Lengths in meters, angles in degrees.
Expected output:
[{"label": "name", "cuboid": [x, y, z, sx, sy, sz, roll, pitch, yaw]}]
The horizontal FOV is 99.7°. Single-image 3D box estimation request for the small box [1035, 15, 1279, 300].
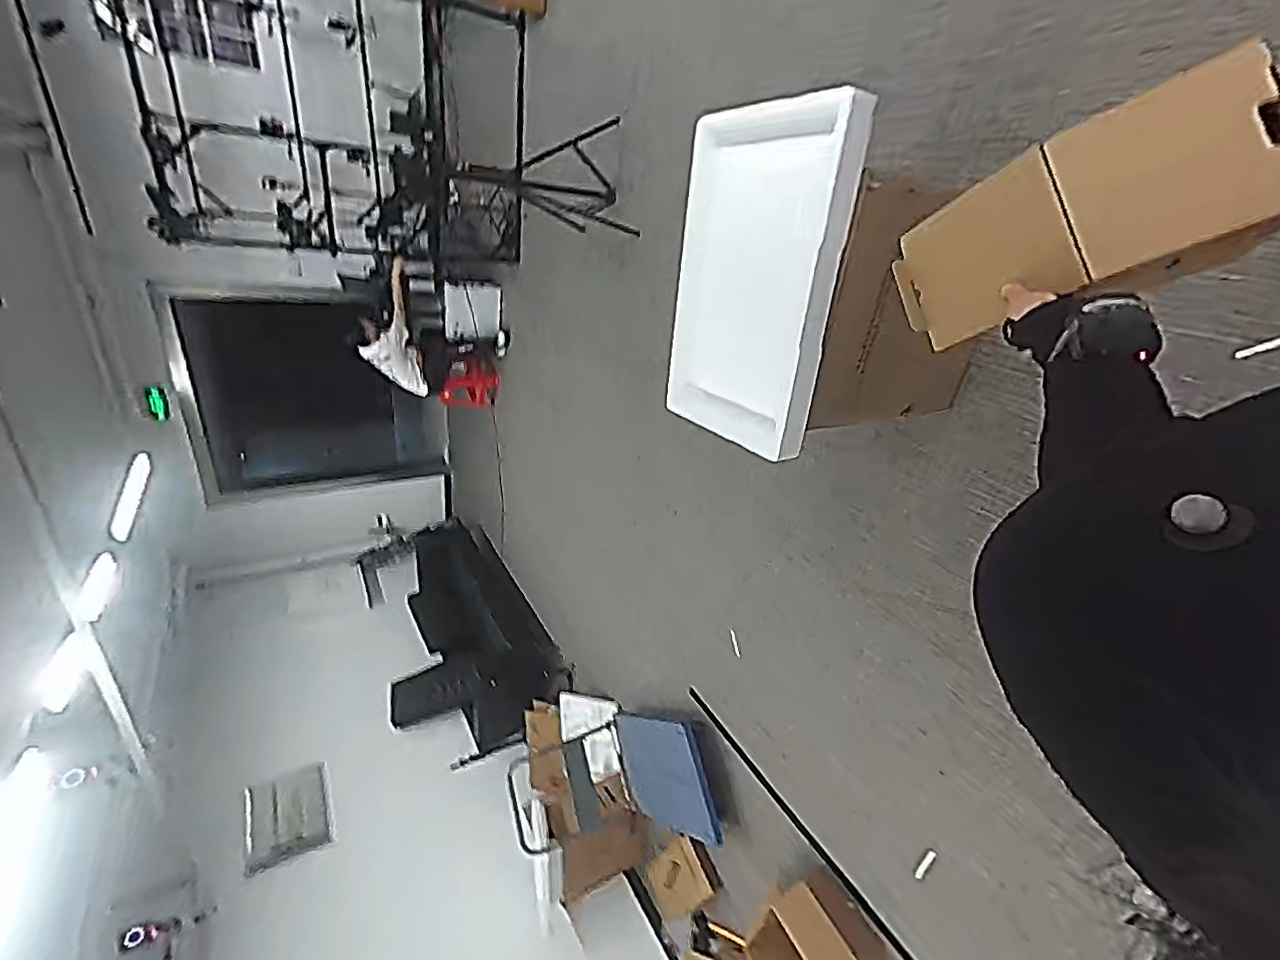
[{"label": "small box", "cuboid": [0.552, -0.317, 0.582, 0.179, 0.176, 0.168, -18, 84, 31]}]
